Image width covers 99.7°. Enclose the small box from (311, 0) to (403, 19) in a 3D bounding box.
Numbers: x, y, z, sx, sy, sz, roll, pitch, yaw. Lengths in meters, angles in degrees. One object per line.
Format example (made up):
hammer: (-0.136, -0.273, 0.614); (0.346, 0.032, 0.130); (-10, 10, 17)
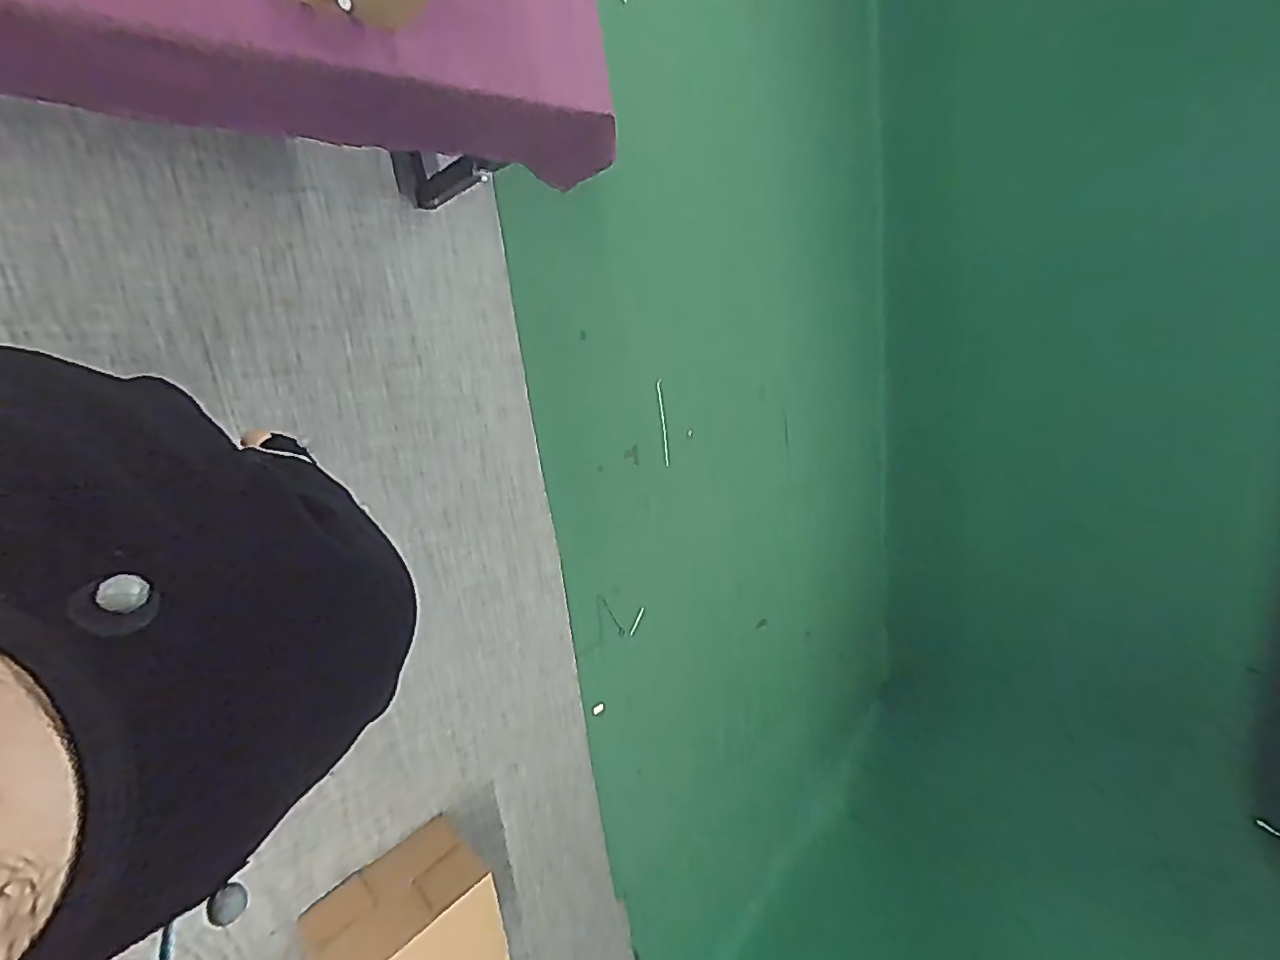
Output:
small box: (-0.359, -0.683, 0.622); (0.179, 0.176, 0.168); (-23, 109, -44)
